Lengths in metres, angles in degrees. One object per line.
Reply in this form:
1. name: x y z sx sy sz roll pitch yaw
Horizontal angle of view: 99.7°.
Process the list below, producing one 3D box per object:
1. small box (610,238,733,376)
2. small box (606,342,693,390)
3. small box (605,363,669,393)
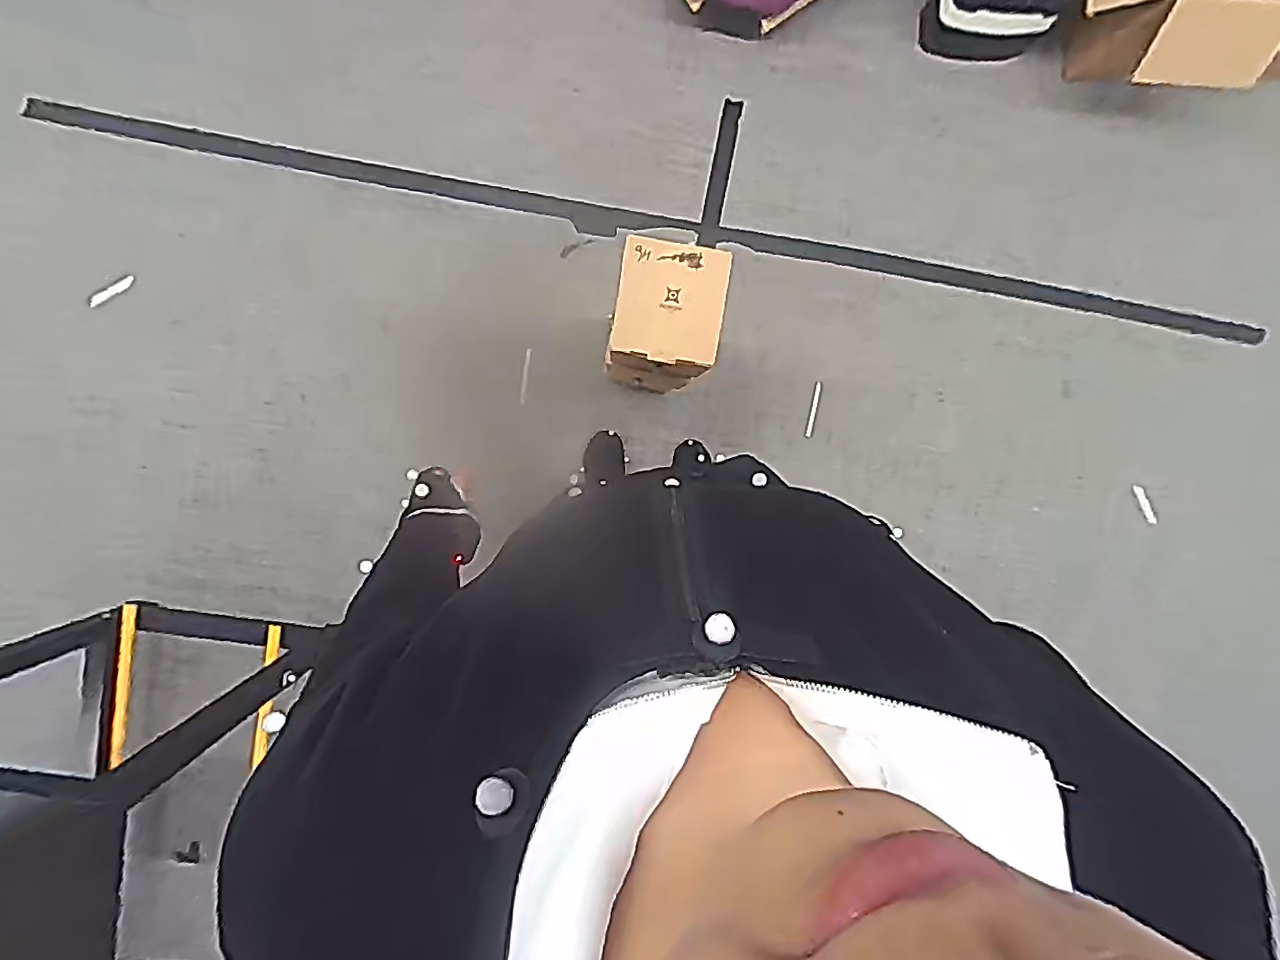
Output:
1. small box: 0.047 -0.275 0.901 0.168 0.176 0.179 9 96 -2
2. small box: 0.033 -0.283 1.064 0.168 0.176 0.179 13 96 -2
3. small box: 0.015 -0.325 1.389 0.179 0.176 0.168 14 95 -4
